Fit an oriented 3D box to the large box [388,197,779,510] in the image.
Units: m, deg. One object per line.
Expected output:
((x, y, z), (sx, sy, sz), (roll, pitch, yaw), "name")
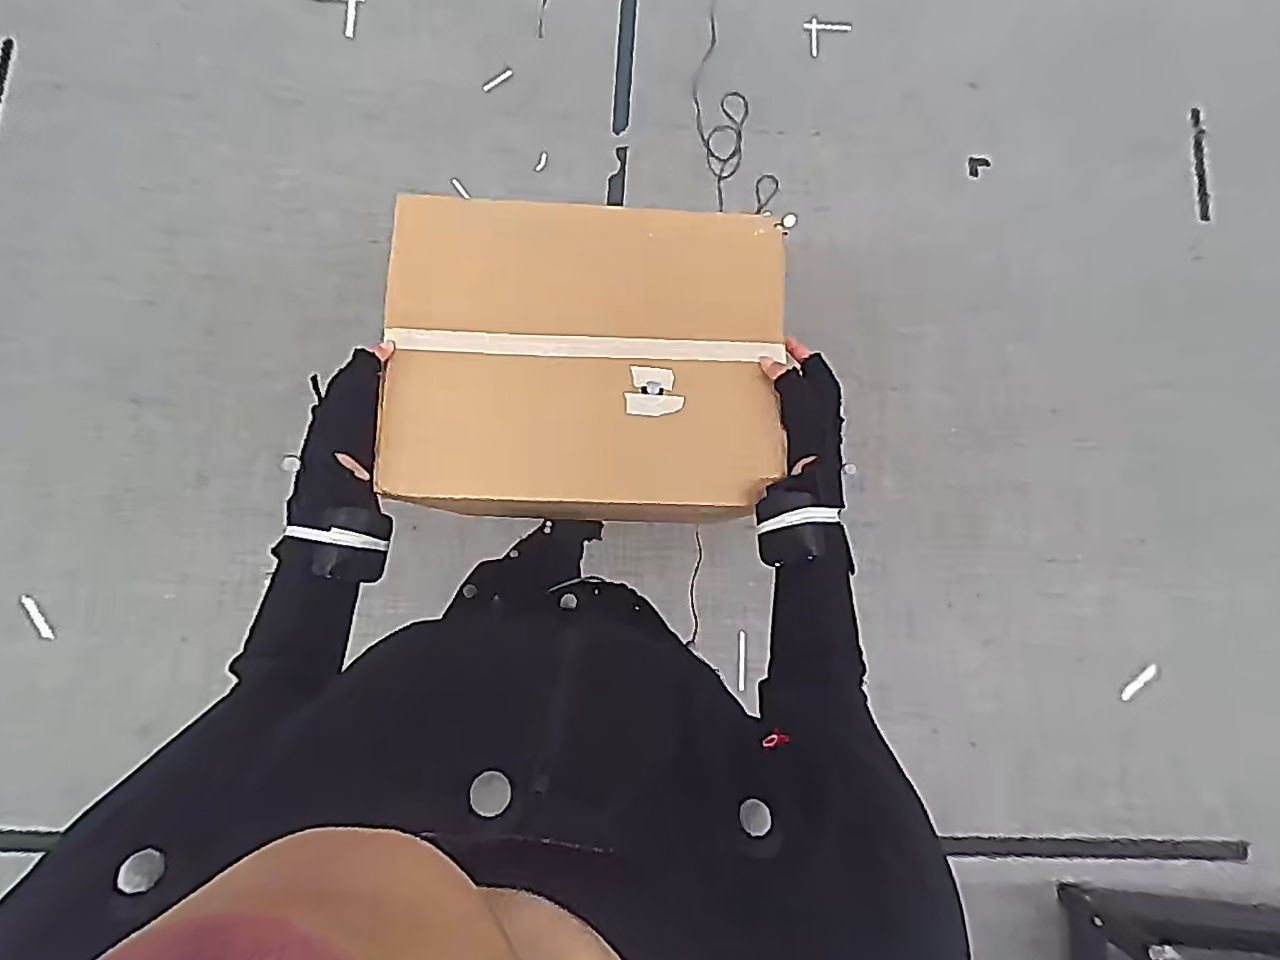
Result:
((-0.062, -0.126, 0.712), (0.408, 0.320, 0.320), (2, 84, -4), "large box")
